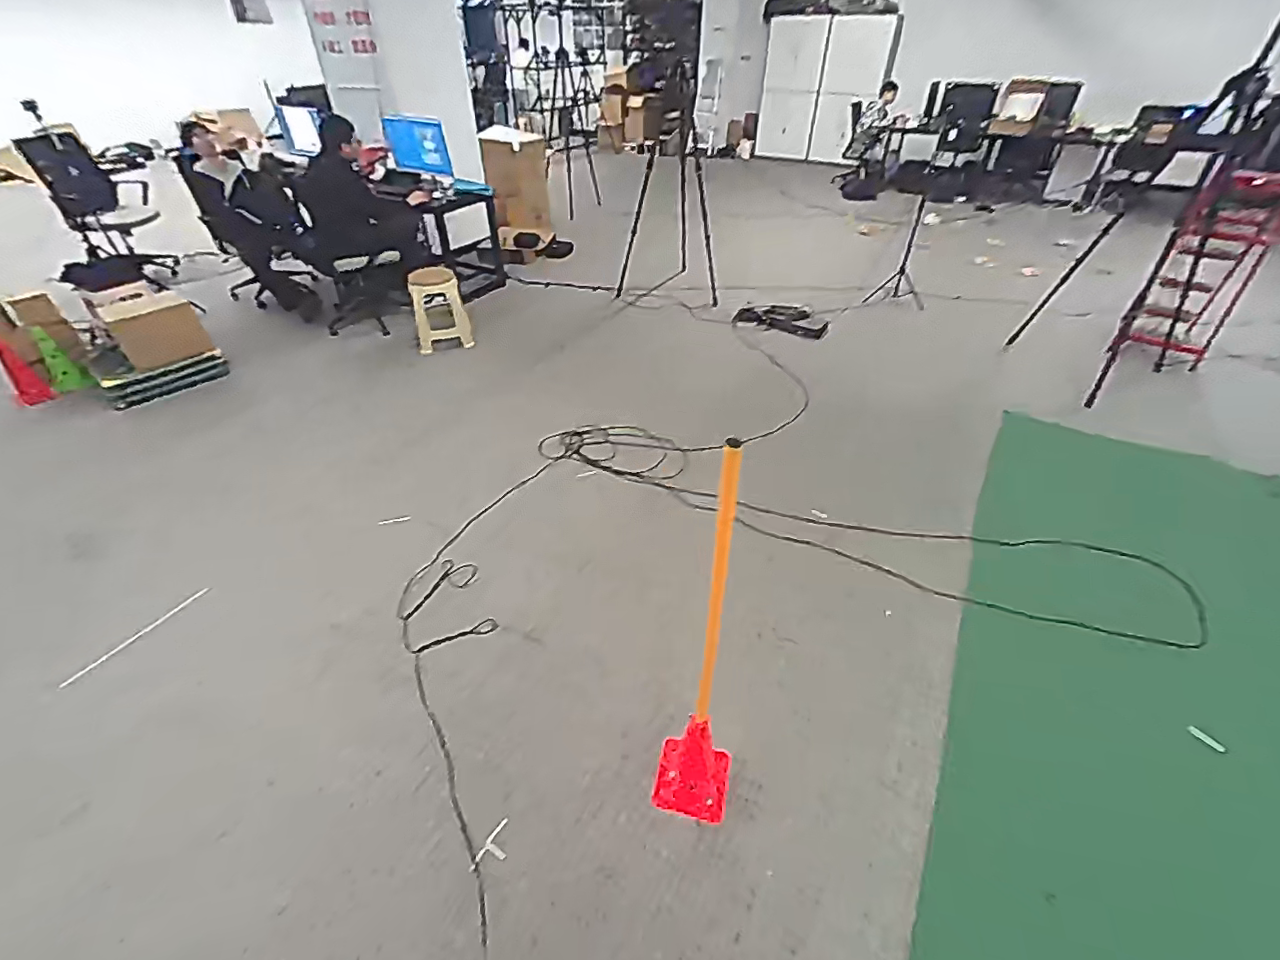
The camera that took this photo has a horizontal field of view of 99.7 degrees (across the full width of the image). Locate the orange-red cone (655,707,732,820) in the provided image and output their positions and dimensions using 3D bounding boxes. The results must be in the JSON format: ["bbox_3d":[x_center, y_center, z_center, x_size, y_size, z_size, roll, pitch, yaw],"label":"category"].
[{"bbox_3d":[0.156,0.709,1.436,0.198,0.360,0.199,11,40,12],"label":"orange-red cone"}]
